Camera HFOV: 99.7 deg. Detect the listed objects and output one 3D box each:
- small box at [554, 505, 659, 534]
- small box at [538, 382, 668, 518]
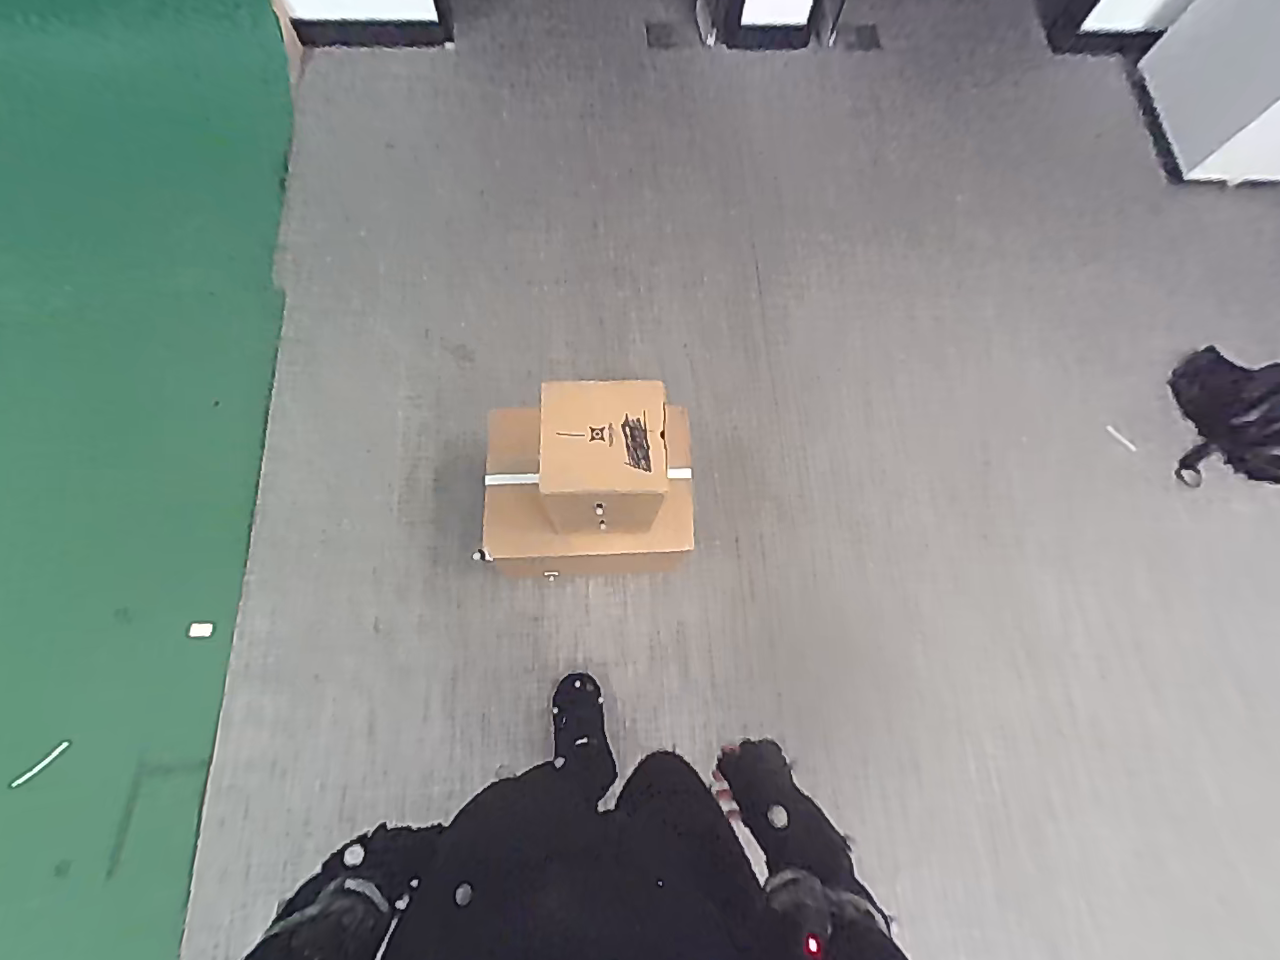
[{"bbox_3d":[-0.063,0.002,0.981,0.179,0.176,0.168,-3,75,-4],"label":"small box"},{"bbox_3d":[-0.055,-0.039,0.822,0.179,0.176,0.168,-2,74,-2],"label":"small box"}]
